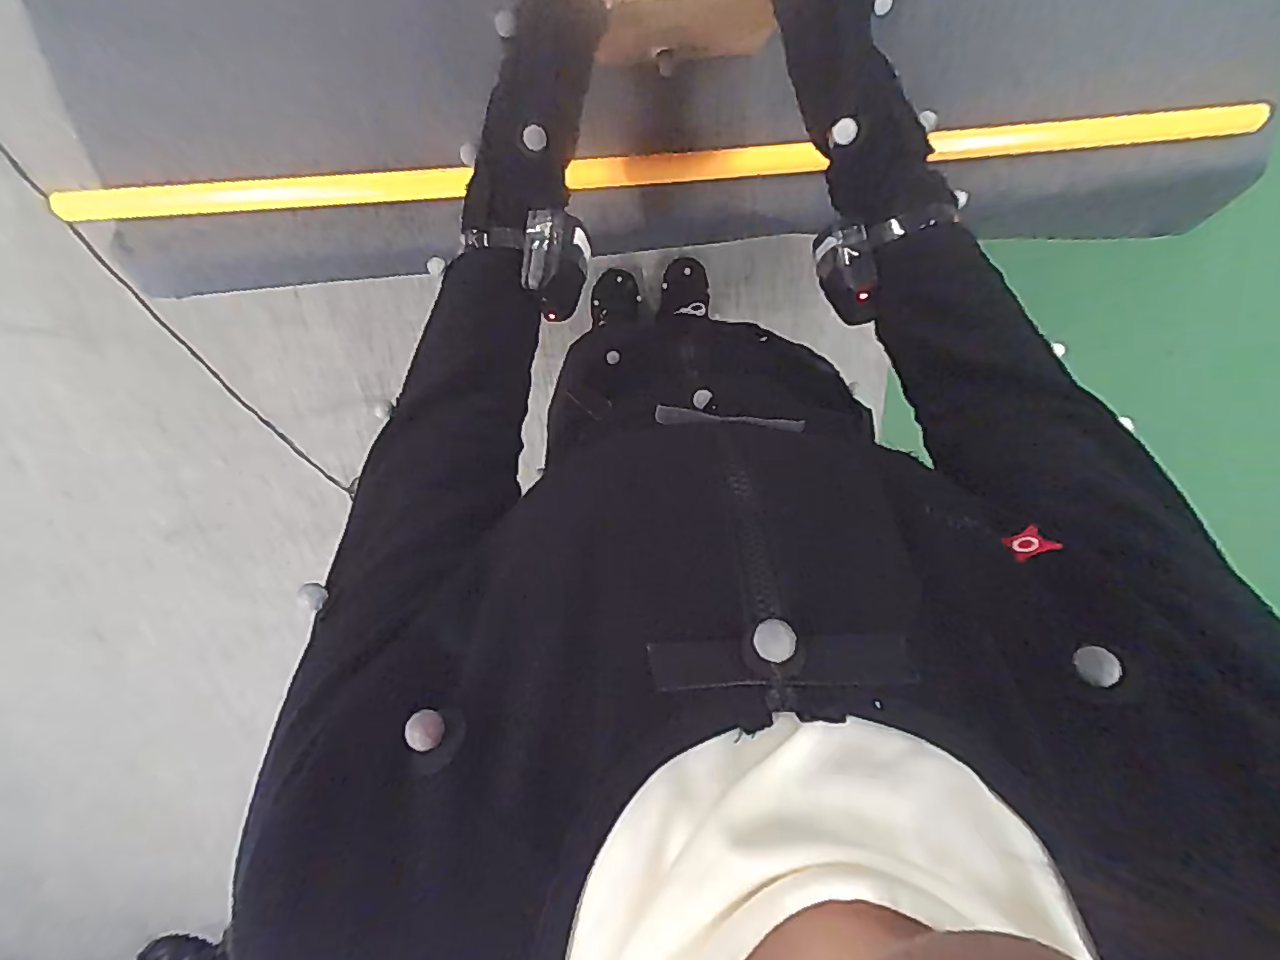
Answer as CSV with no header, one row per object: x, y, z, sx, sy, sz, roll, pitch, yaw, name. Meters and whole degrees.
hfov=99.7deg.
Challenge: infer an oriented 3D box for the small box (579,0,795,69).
0.028,-0.453,0.418,0.168,0.176,0.179,-6,115,0,small box
